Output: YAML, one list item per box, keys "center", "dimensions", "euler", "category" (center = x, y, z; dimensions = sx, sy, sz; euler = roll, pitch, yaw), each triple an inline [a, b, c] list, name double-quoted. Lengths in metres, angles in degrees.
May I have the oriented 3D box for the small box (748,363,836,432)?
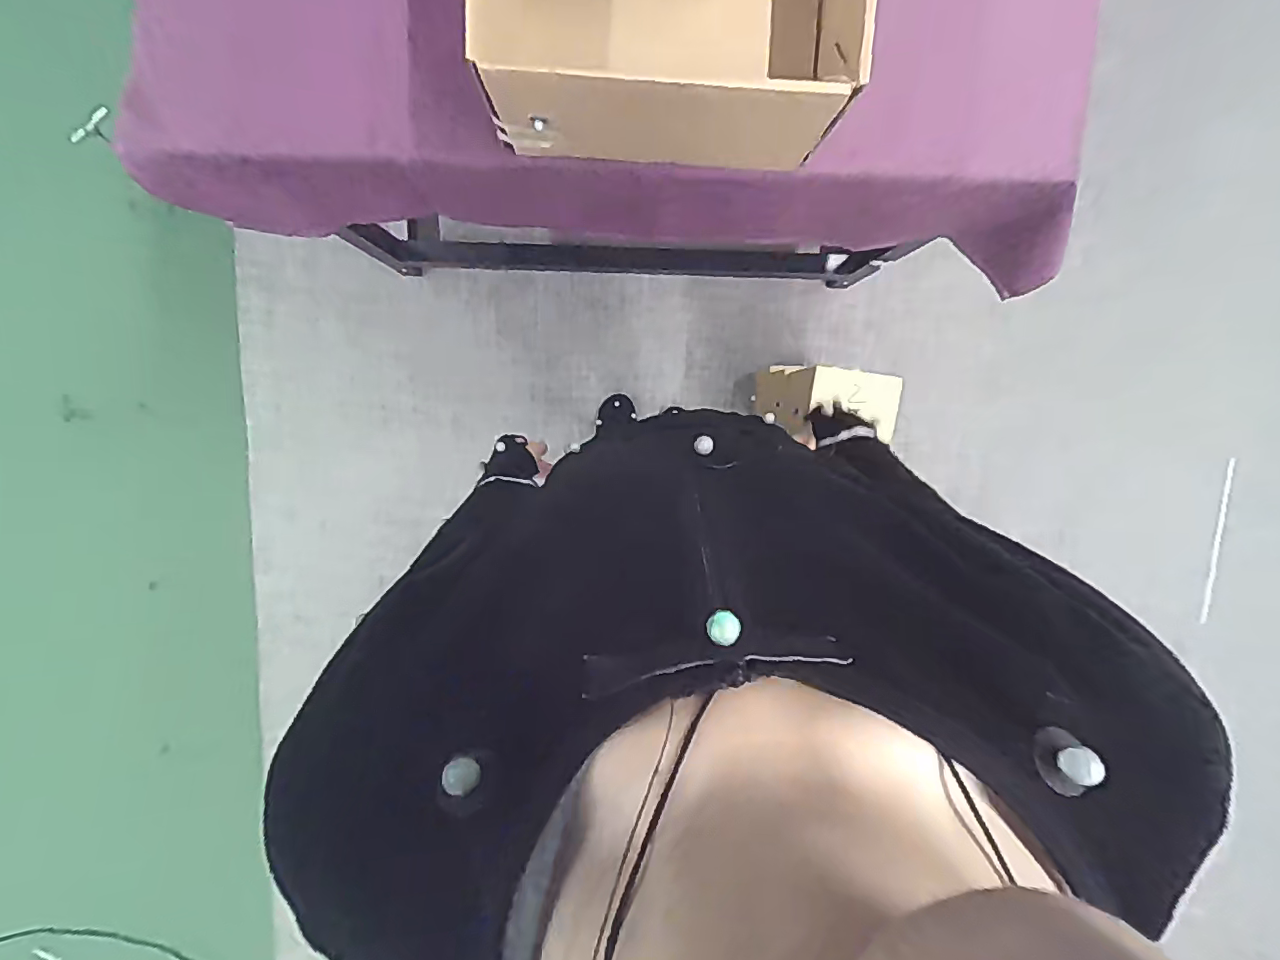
- center: [0.388, -0.213, 1.403]
  dimensions: [0.179, 0.176, 0.168]
  euler: [1, 98, 0]
  category: "small box"
